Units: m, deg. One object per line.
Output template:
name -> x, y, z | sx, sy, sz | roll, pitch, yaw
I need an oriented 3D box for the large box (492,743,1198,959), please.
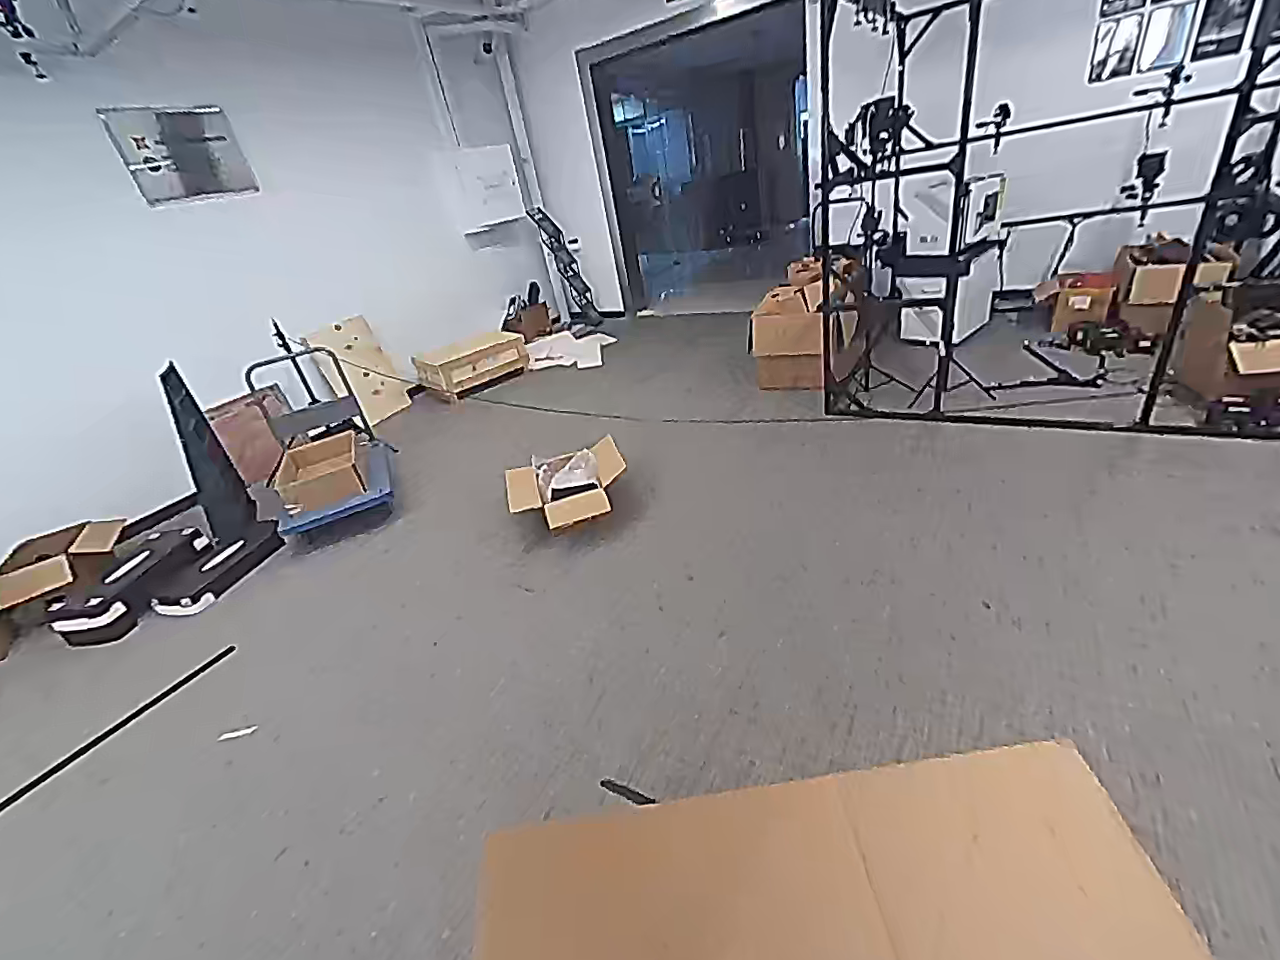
large box -> 0.130, 0.426, 0.378 | 0.408, 0.320, 0.320 | -9, 48, -1
